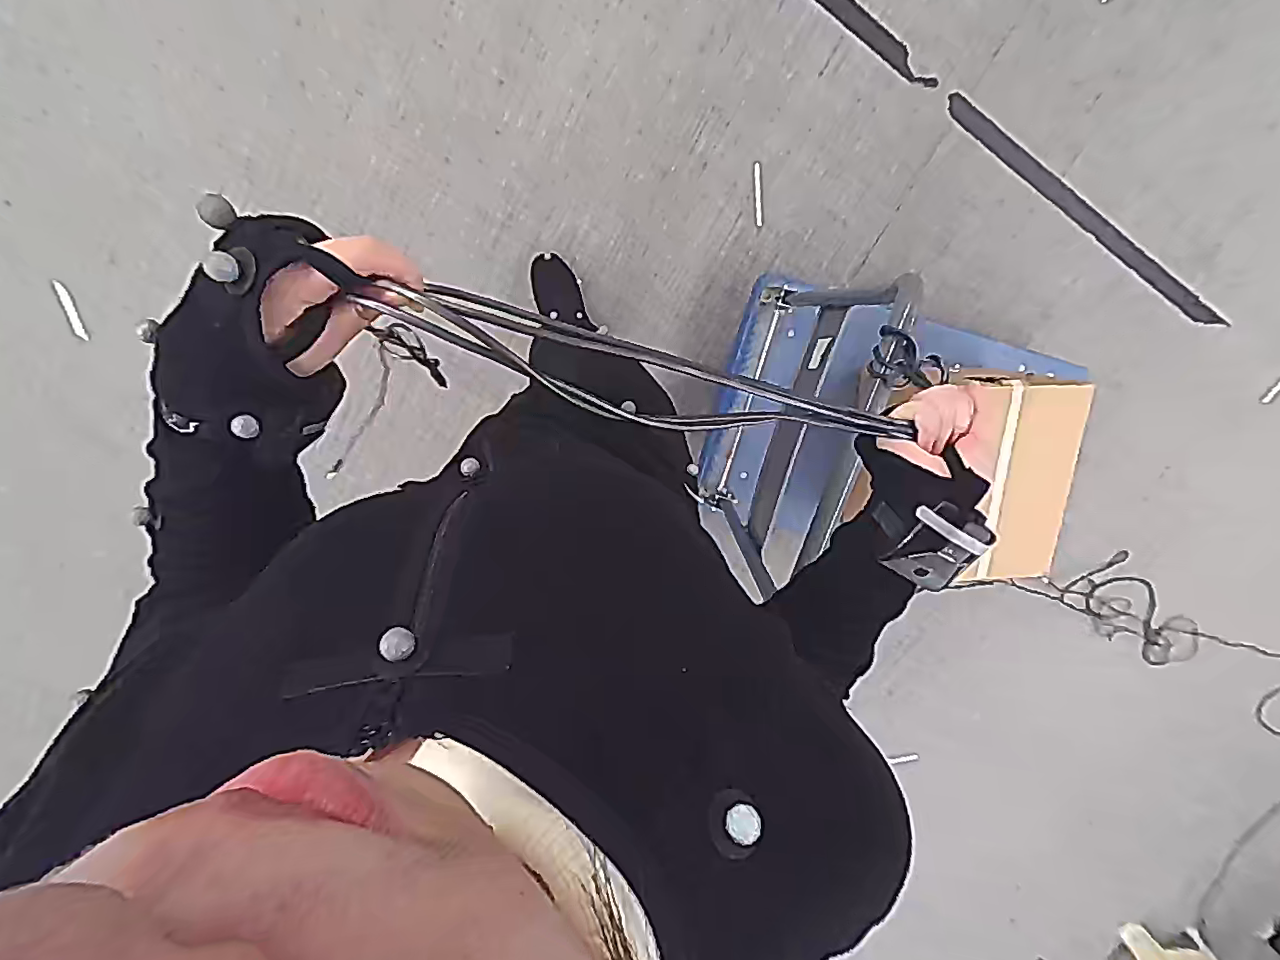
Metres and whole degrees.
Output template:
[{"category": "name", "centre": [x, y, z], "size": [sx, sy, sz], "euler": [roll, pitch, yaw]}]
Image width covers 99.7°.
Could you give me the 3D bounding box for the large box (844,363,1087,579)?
[{"category": "large box", "centre": [0.681, -0.038, 1.202], "size": [0.320, 0.320, 0.408], "euler": [-2, 108, -3]}]
